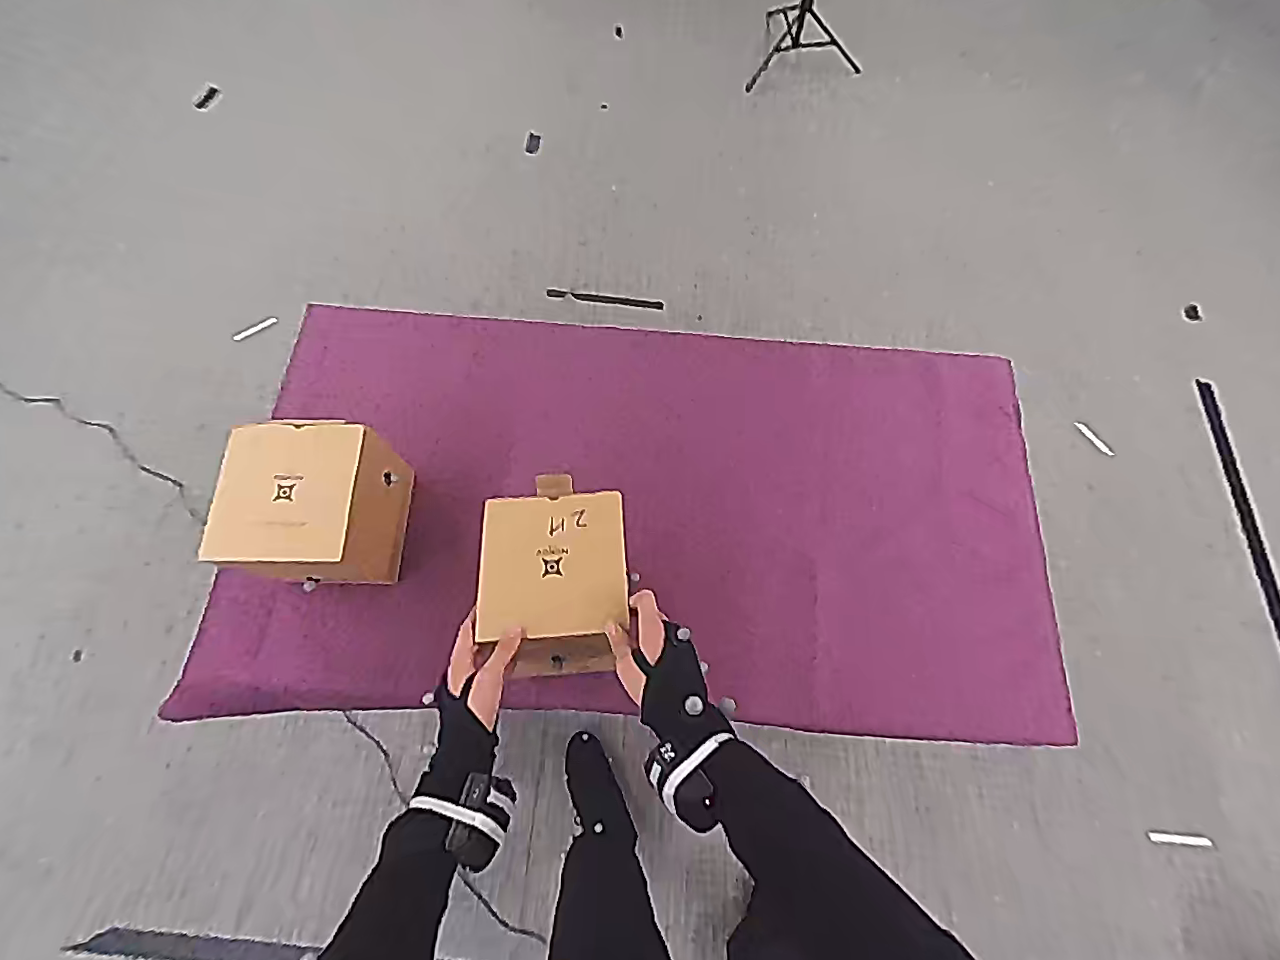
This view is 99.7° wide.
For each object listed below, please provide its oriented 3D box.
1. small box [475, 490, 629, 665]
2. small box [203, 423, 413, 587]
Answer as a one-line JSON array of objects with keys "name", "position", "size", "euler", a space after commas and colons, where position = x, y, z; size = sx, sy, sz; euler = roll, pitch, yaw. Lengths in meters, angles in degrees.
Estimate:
[{"name": "small box", "position": [-0.100, 0.131, 0.689], "size": [0.168, 0.176, 0.179], "euler": [-2, 58, -3]}, {"name": "small box", "position": [-0.423, 0.041, 0.728], "size": [0.168, 0.176, 0.179], "euler": [1, 69, -1]}]
